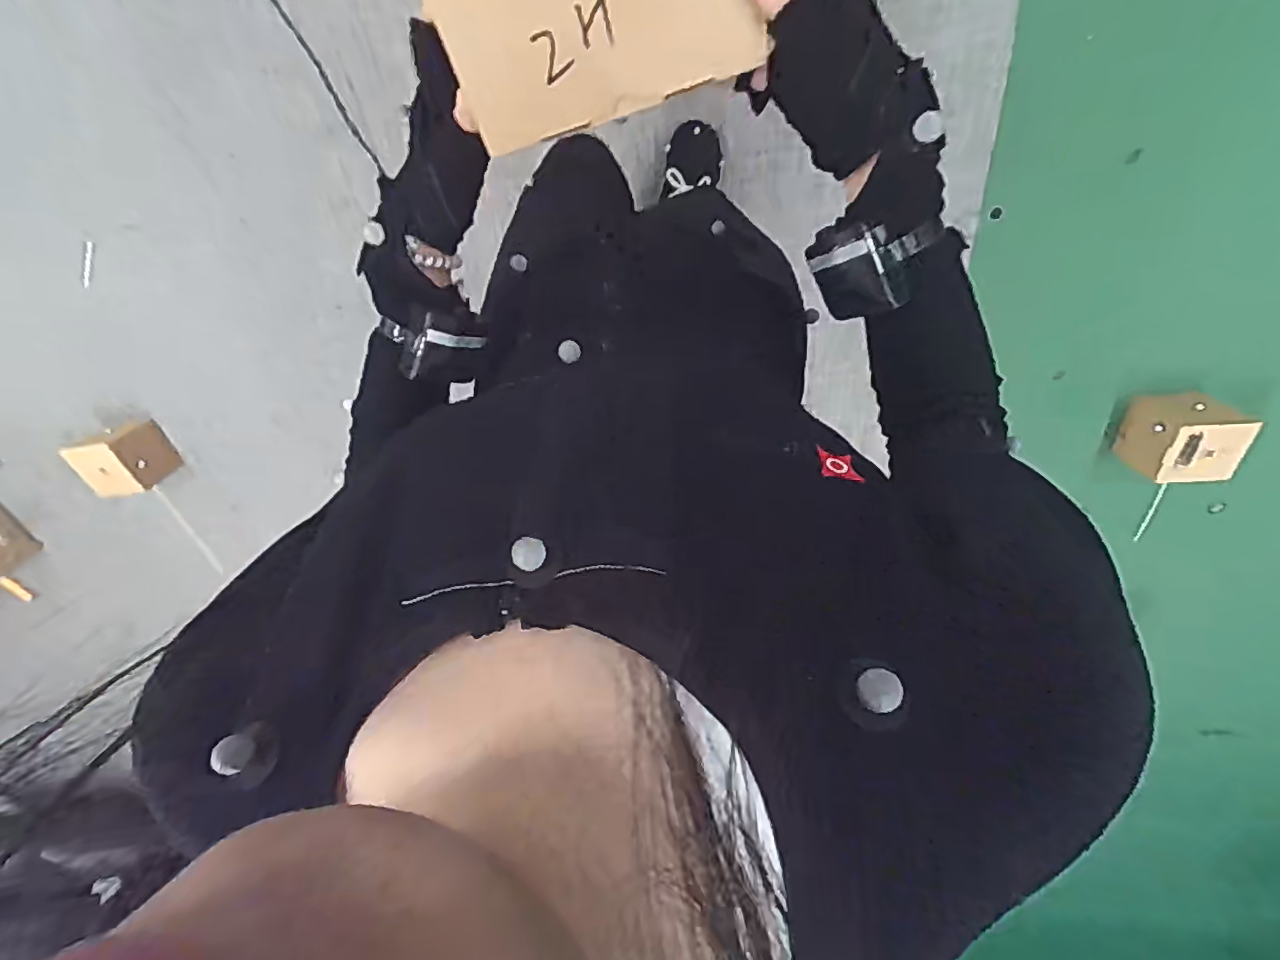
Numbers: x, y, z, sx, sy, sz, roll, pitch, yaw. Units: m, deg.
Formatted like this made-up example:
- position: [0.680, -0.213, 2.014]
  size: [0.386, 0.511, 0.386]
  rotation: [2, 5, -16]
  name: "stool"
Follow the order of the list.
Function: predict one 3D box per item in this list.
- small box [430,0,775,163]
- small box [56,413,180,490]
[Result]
- position: [-0.035, -0.312, 0.304]
  size: [0.168, 0.176, 0.179]
  rotation: [-15, 131, 6]
  name: "small box"
- position: [-1.586, -0.095, 1.656]
  size: [0.168, 0.176, 0.179]
  rotation: [-6, 126, 8]
  name: "small box"
